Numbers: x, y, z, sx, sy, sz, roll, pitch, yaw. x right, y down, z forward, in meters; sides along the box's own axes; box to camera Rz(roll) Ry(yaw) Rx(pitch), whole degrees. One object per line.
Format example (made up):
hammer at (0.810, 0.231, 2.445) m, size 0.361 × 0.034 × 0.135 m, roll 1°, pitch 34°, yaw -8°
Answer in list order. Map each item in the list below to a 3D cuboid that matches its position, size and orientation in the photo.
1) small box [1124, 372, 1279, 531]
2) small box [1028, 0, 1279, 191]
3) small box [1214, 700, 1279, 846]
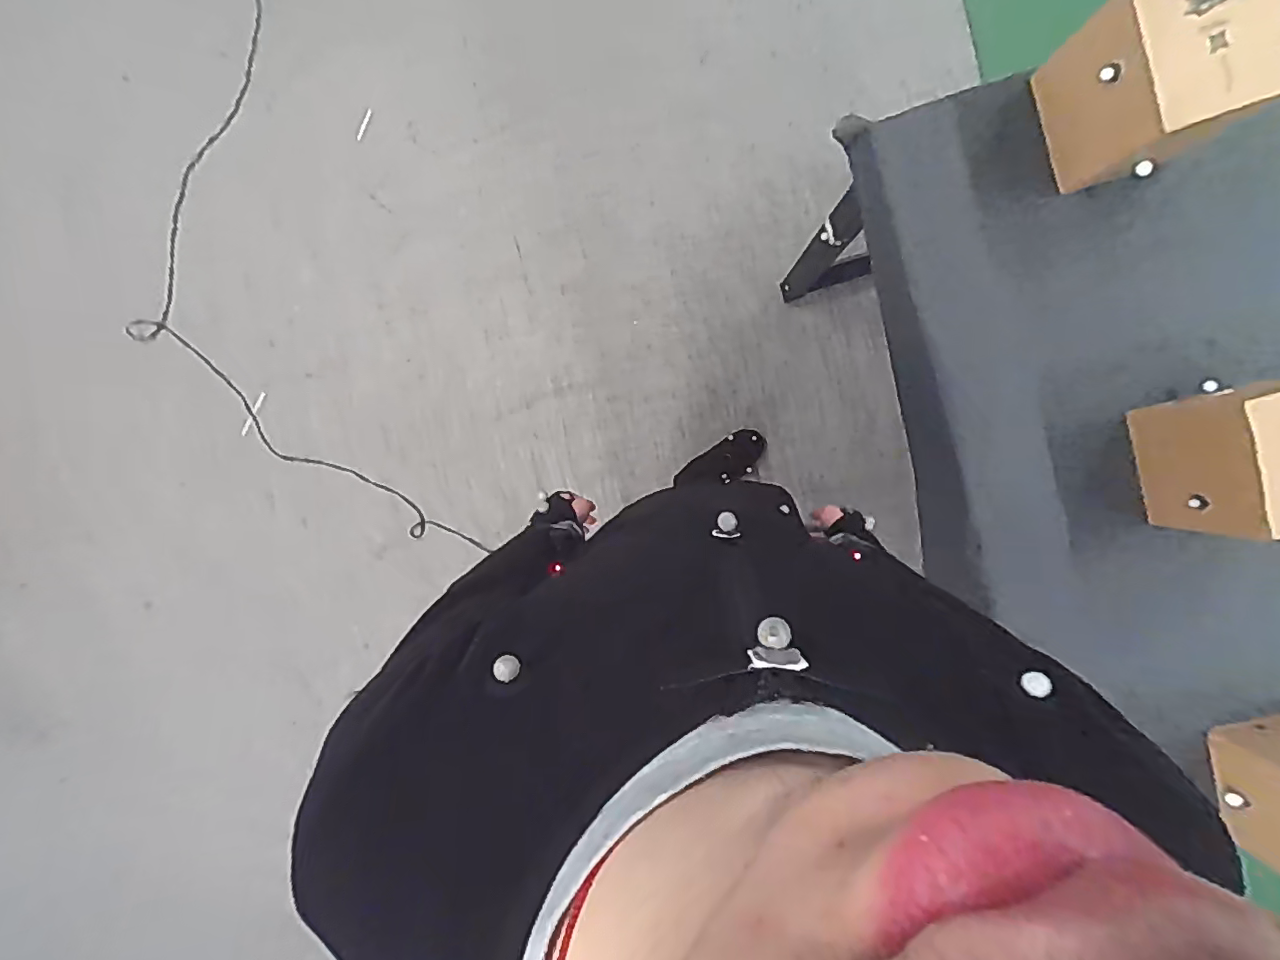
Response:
small box at (0.821, -0.045, 0.732) m, size 0.168 × 0.176 × 0.179 m, roll -16°, pitch 91°, yaw -1°
small box at (0.656, -0.520, 0.705) m, size 0.168 × 0.176 × 0.179 m, roll -19°, pitch 94°, yaw 1°
small box at (0.972, 0.430, 0.751) m, size 0.168 × 0.176 × 0.179 m, roll -14°, pitch 93°, yaw 1°
